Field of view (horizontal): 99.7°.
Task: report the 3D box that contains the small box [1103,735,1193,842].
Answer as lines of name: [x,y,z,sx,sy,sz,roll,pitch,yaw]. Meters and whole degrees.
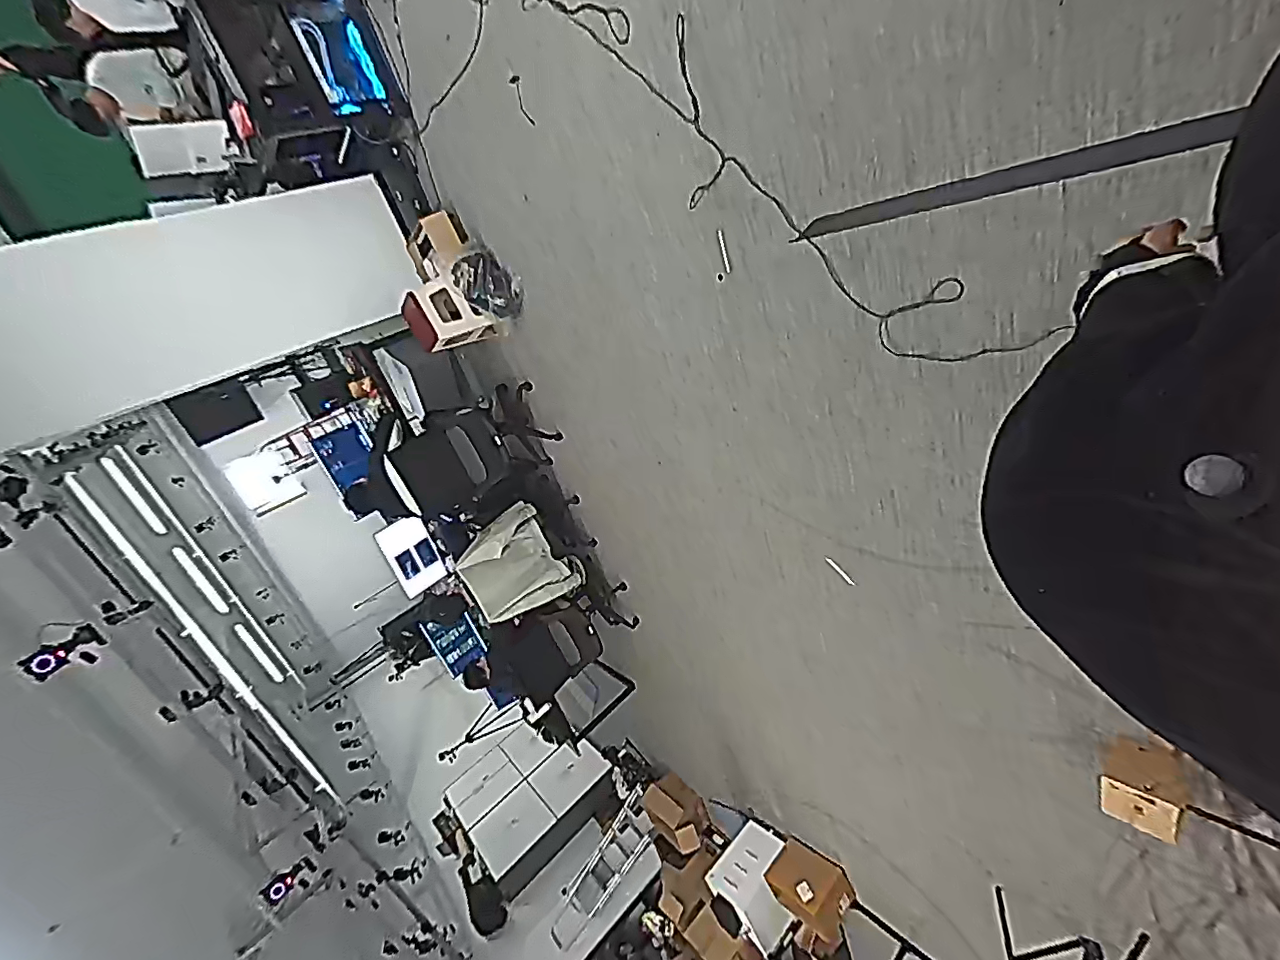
small box: [1.496,0.902,1.593,0.168,0.176,0.179,10,129,52]
